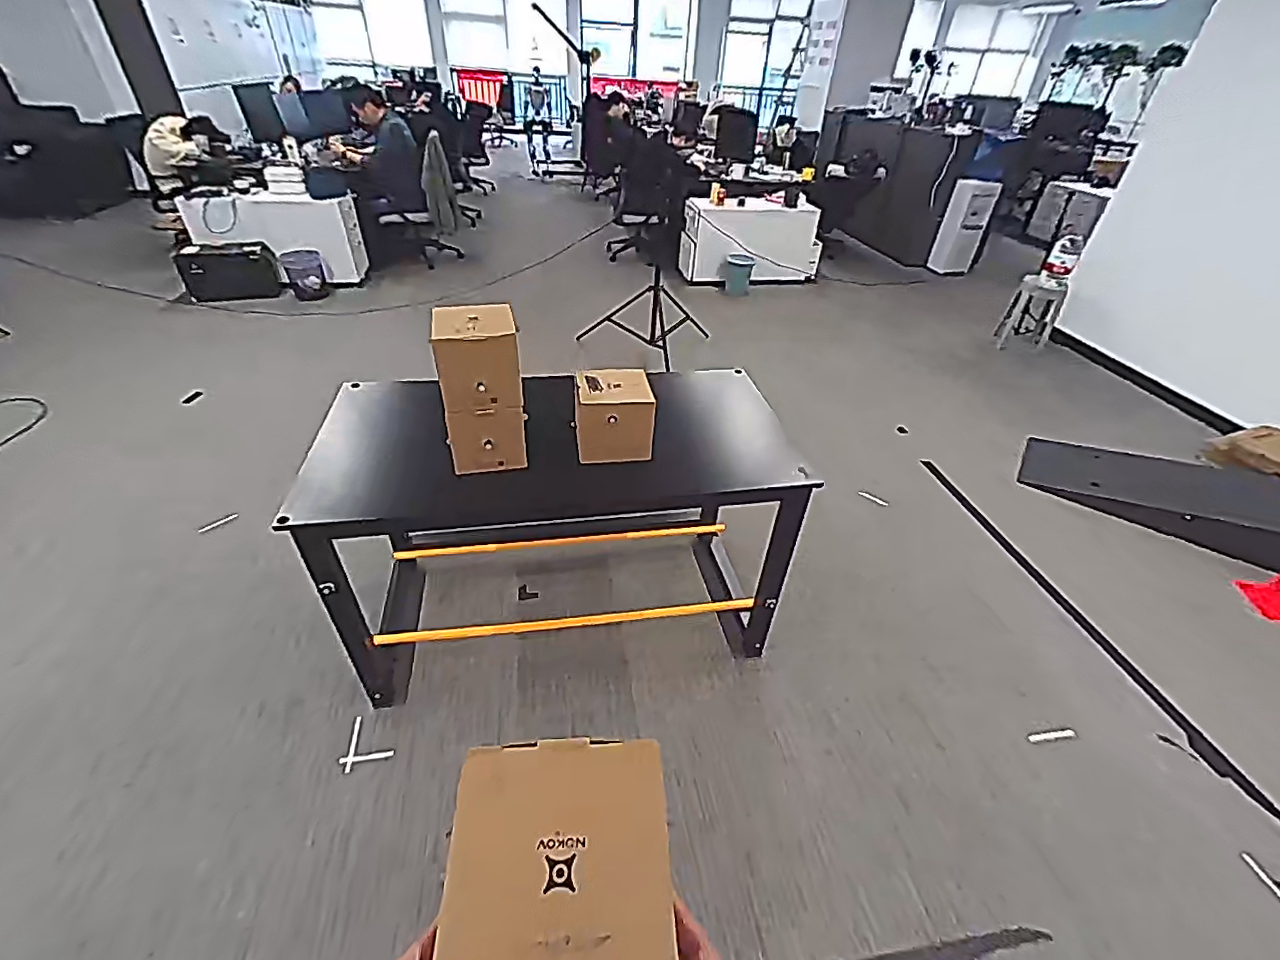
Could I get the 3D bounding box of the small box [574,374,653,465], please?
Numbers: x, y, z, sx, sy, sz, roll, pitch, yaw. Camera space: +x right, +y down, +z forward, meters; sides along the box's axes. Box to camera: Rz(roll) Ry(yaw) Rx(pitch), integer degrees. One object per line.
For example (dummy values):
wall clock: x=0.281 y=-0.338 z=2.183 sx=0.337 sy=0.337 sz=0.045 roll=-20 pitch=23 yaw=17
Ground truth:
small box: x=-0.069 y=-0.149 z=1.343 sx=0.179 sy=0.176 sz=0.168 roll=-3 pitch=38 yaw=-9

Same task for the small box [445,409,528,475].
small box: x=-0.363 y=-0.125 z=1.292 sx=0.168 sy=0.176 sz=0.179 roll=-7 pitch=39 yaw=-13

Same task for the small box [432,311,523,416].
small box: x=-0.356 y=-0.259 z=1.194 sx=0.168 sy=0.176 sz=0.179 roll=-8 pitch=39 yaw=-14

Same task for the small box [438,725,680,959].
small box: x=-0.062 y=0.334 z=0.467 sx=0.168 sy=0.176 sz=0.179 roll=-1 pitch=46 yaw=-5
